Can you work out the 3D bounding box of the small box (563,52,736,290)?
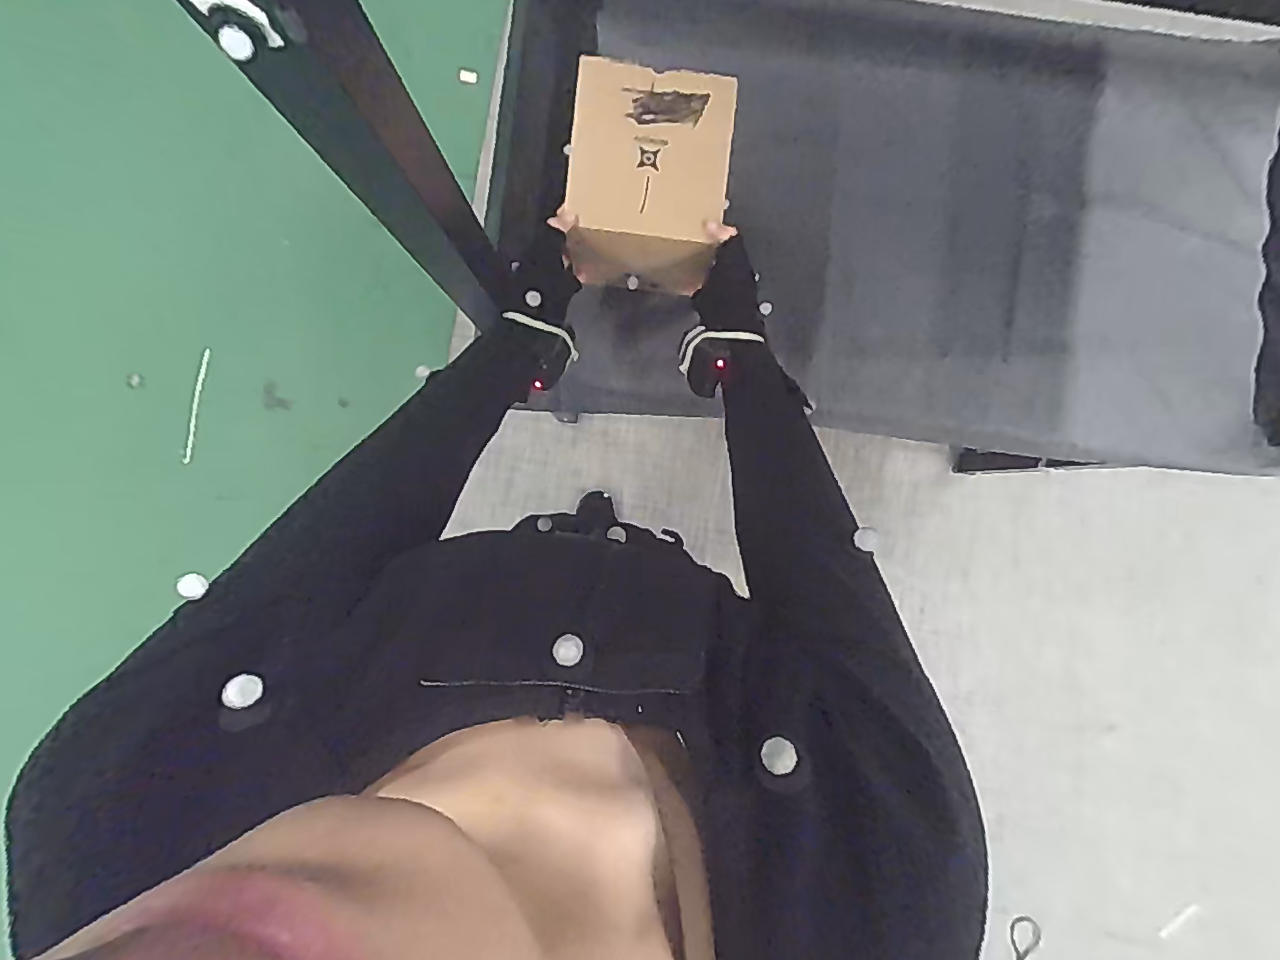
[{"bbox_3d":[0.006,-0.347,0.641,0.168,0.176,0.179,6,91,-3],"label":"small box"}]
